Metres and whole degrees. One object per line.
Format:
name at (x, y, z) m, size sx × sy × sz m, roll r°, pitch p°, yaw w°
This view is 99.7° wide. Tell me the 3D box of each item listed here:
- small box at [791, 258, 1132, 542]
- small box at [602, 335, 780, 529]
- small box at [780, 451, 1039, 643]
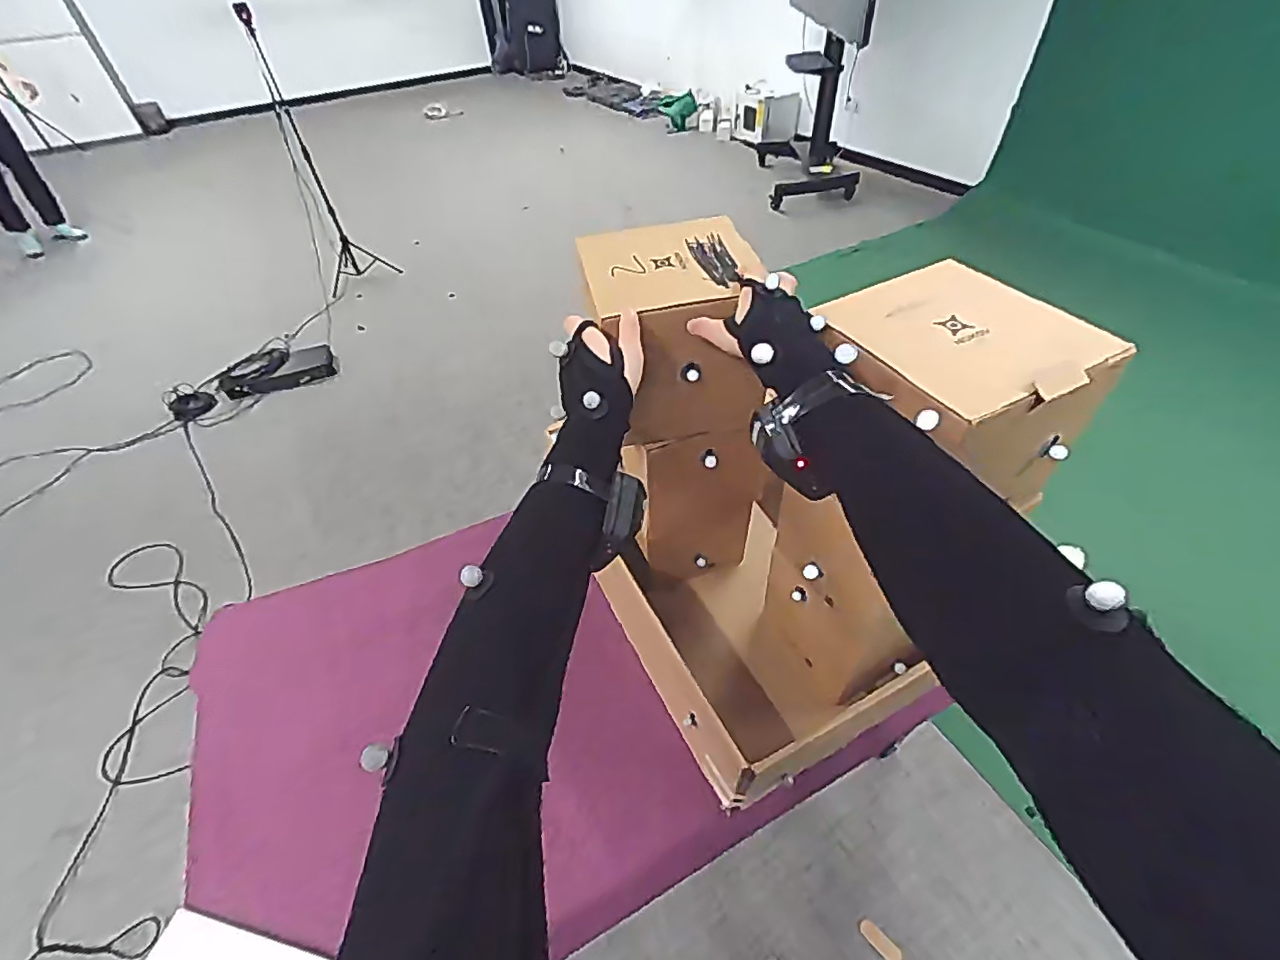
small box at (0.259, -0.067, 0.487) m, size 0.168 × 0.176 × 0.179 m, roll -22°, pitch 48°, yaw -14°
small box at (0.061, -0.063, 0.729) m, size 0.179 × 0.176 × 0.168 m, roll -18°, pitch 50°, yaw -12°
small box at (0.276, 0.047, 0.602) m, size 0.179 × 0.176 × 0.168 m, roll -23°, pitch 49°, yaw -13°
